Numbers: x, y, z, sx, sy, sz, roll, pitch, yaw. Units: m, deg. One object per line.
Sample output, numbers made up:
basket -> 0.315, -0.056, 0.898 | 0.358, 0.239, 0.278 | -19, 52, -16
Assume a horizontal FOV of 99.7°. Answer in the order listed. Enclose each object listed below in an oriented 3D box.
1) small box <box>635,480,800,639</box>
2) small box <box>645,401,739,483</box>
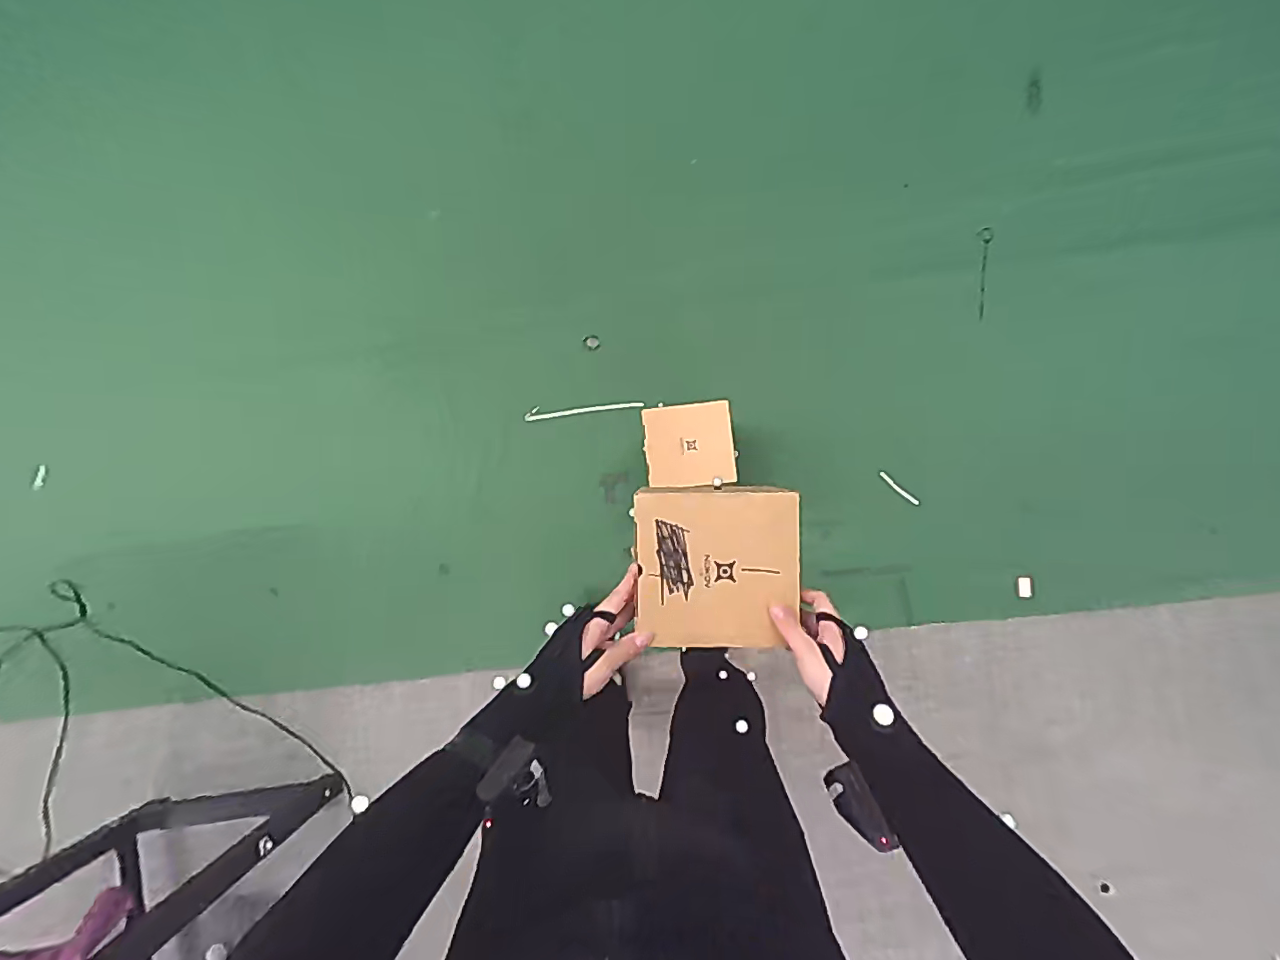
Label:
small box -> 0.086, 0.086, 0.656 | 0.179, 0.176, 0.168 | 0, 92, 2
small box -> 0.109, -0.067, 1.150 | 0.179, 0.176, 0.168 | -6, 88, 6
